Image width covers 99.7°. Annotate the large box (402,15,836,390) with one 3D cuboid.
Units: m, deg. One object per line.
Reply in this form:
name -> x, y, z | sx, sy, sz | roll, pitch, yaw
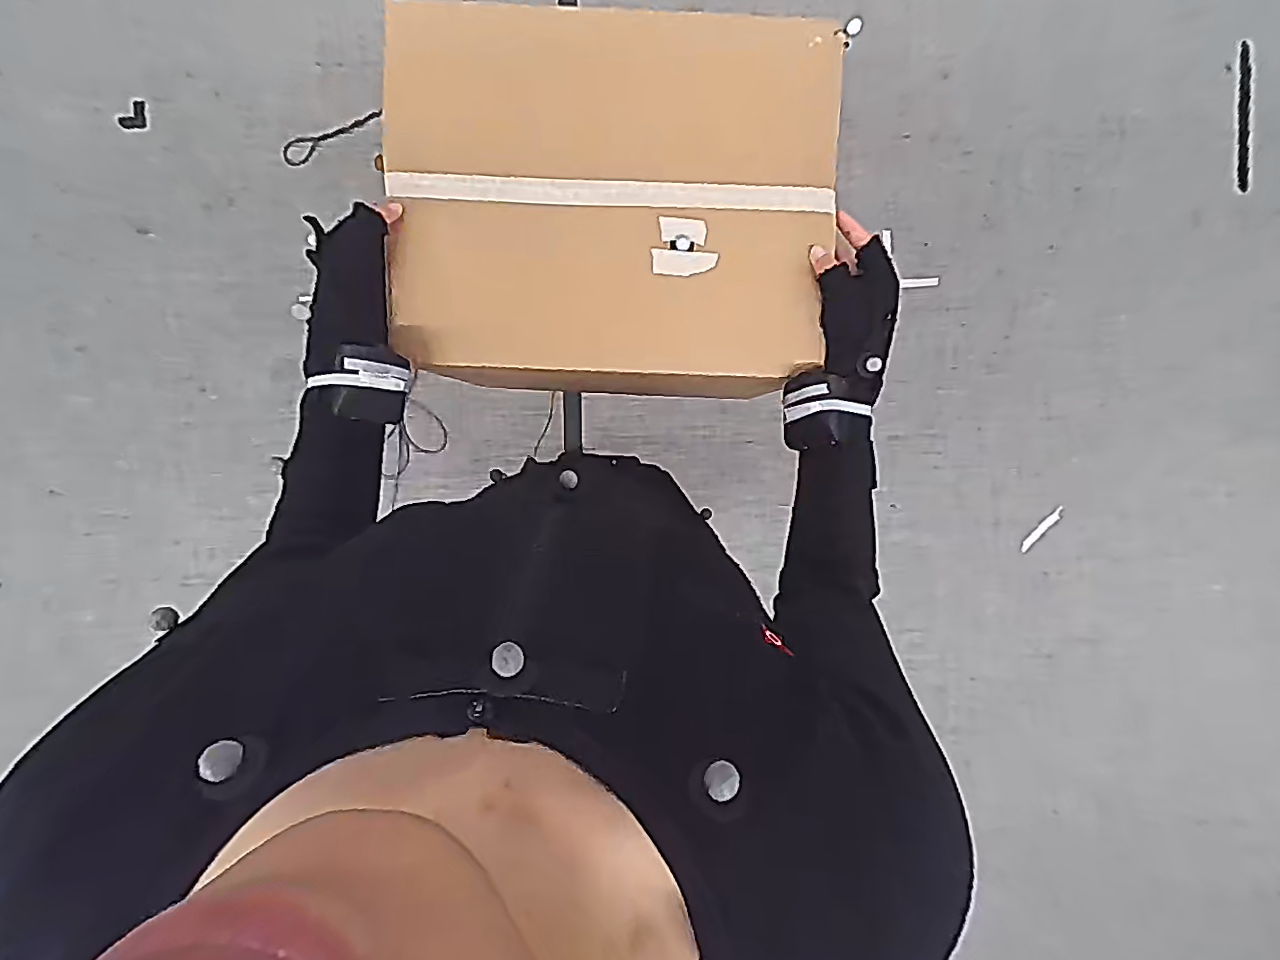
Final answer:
large box -> -0.025, -0.278, 0.653 | 0.408, 0.320, 0.320 | 2, 96, -1
